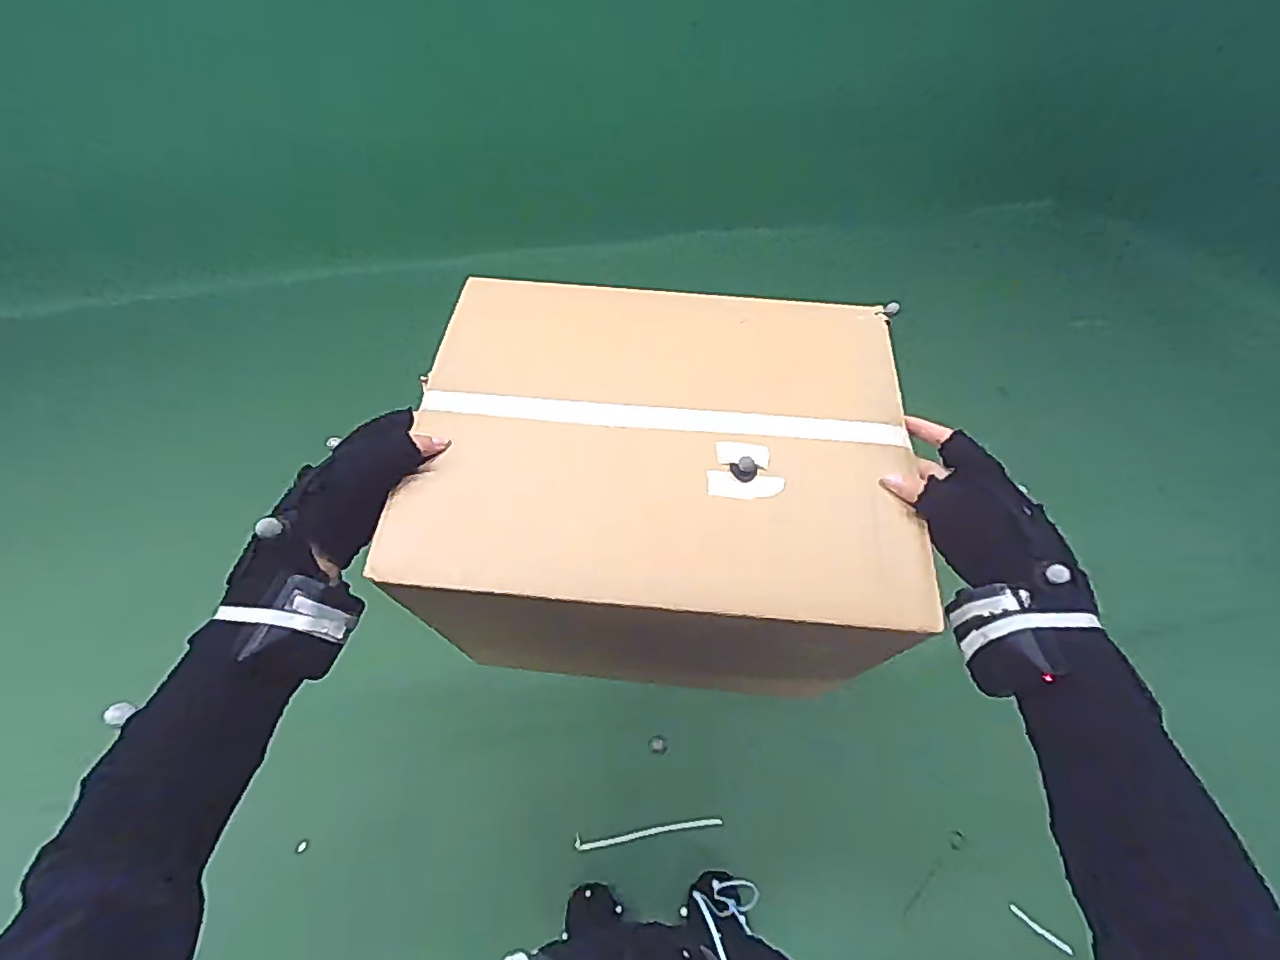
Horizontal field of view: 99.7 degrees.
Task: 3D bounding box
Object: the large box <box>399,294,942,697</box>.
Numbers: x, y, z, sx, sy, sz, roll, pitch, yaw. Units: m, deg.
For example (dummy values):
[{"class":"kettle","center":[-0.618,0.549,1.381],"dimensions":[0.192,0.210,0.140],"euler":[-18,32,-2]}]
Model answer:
[{"class":"large box","center":[0.027,0.034,0.591],"dimensions":[0.408,0.320,0.320],"euler":[6,60,2]}]
